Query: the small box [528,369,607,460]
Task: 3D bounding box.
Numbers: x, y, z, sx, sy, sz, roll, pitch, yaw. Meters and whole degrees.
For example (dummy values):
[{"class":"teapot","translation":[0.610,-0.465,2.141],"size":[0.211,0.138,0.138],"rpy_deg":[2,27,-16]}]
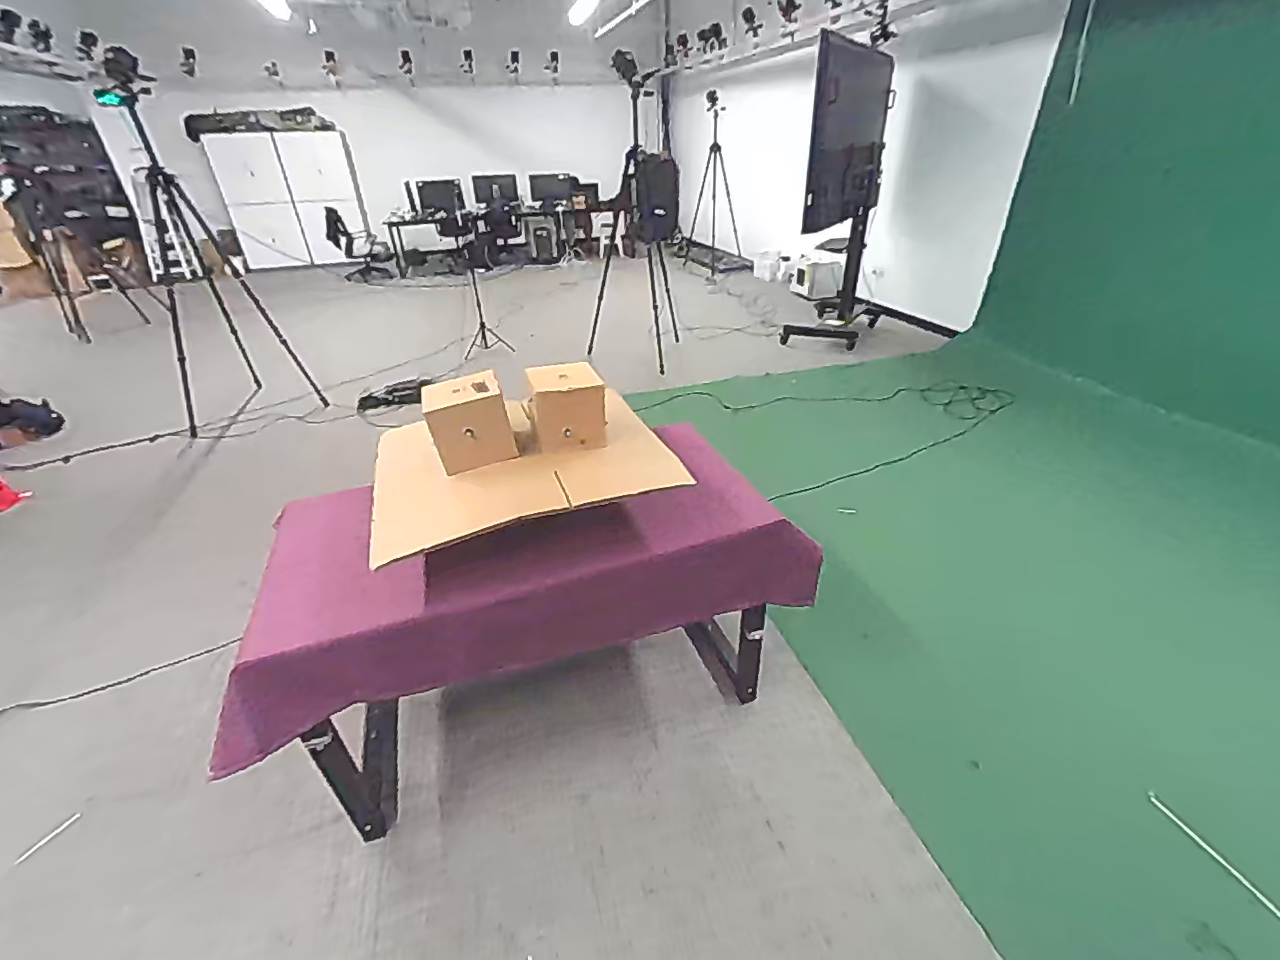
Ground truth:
[{"class":"small box","translation":[-0.185,-0.167,1.364],"size":[0.168,0.176,0.179],"rpy_deg":[-10,33,-16]}]
